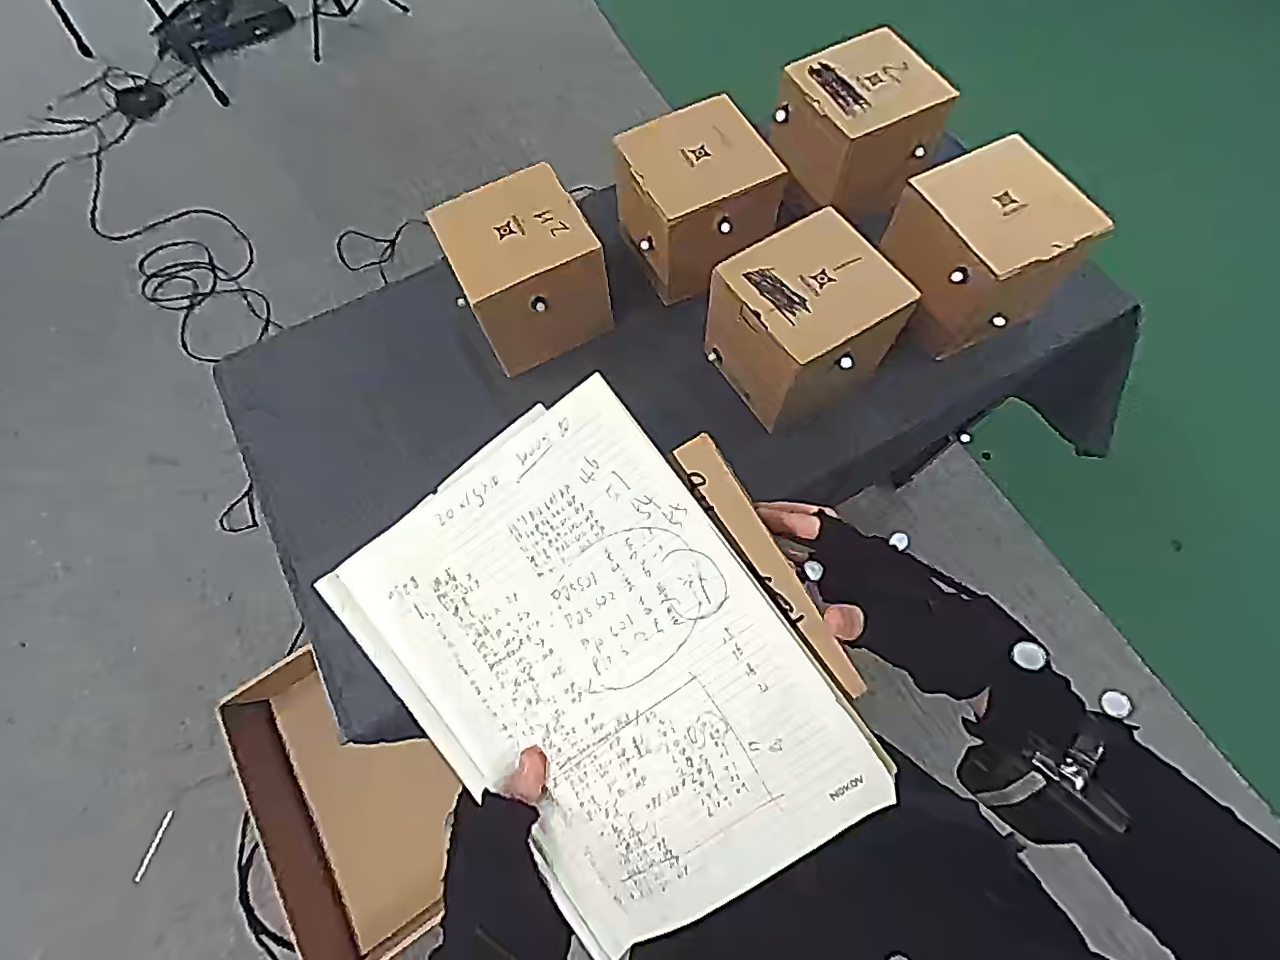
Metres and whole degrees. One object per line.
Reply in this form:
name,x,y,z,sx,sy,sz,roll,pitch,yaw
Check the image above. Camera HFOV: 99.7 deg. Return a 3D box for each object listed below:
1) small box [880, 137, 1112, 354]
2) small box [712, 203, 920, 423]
small box,0.444,-0.304,0.721,0.168,0.176,0.179,-25,70,-7
small box,0.204,-0.201,0.690,0.179,0.176,0.168,-30,71,-9
